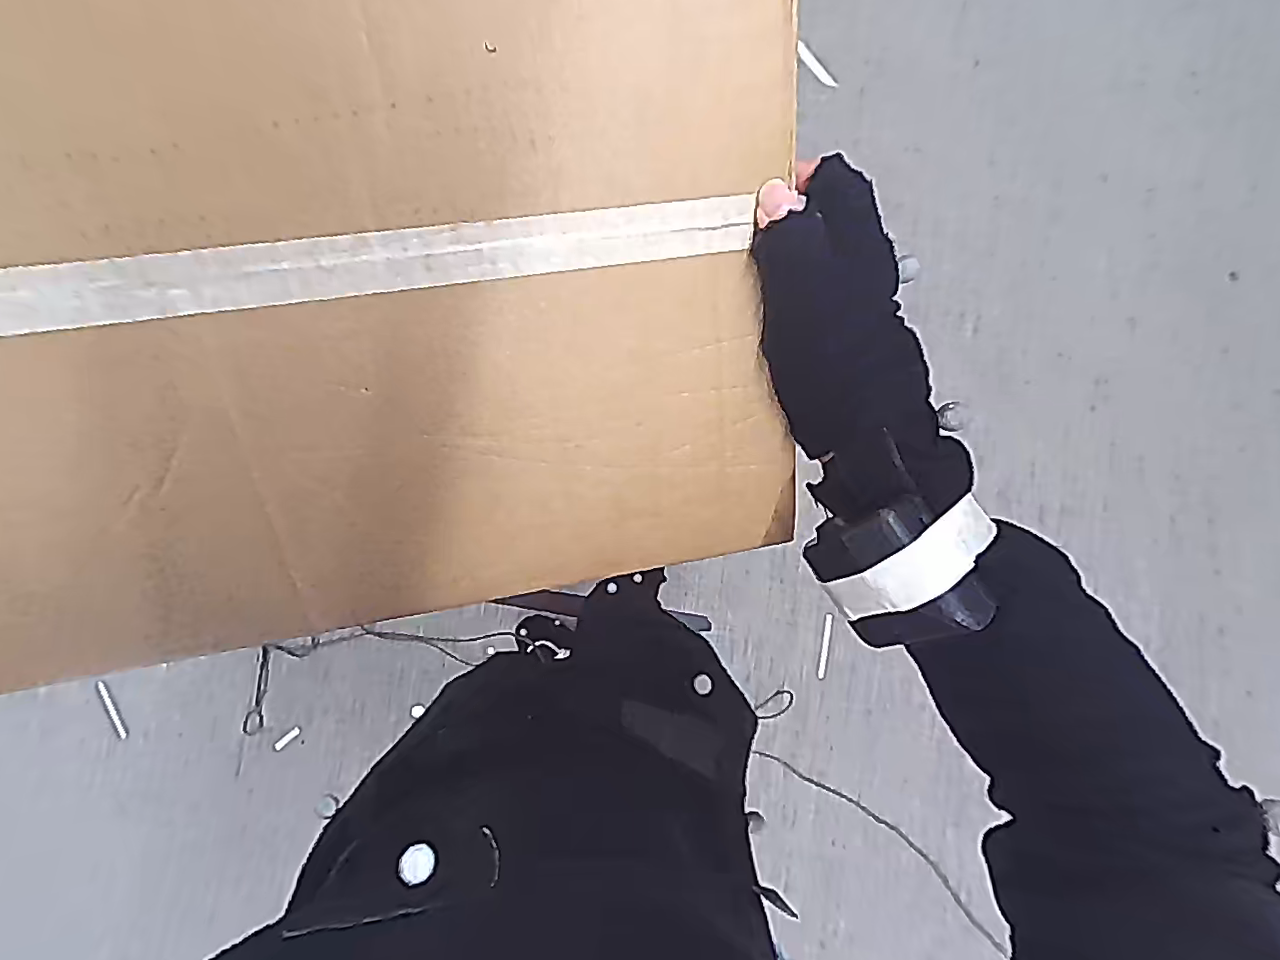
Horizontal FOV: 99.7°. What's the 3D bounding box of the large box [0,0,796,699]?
[{"bbox_3d":[-0.153,-0.125,0.349,0.408,0.320,0.320,-9,112,-9],"label":"large box"}]
